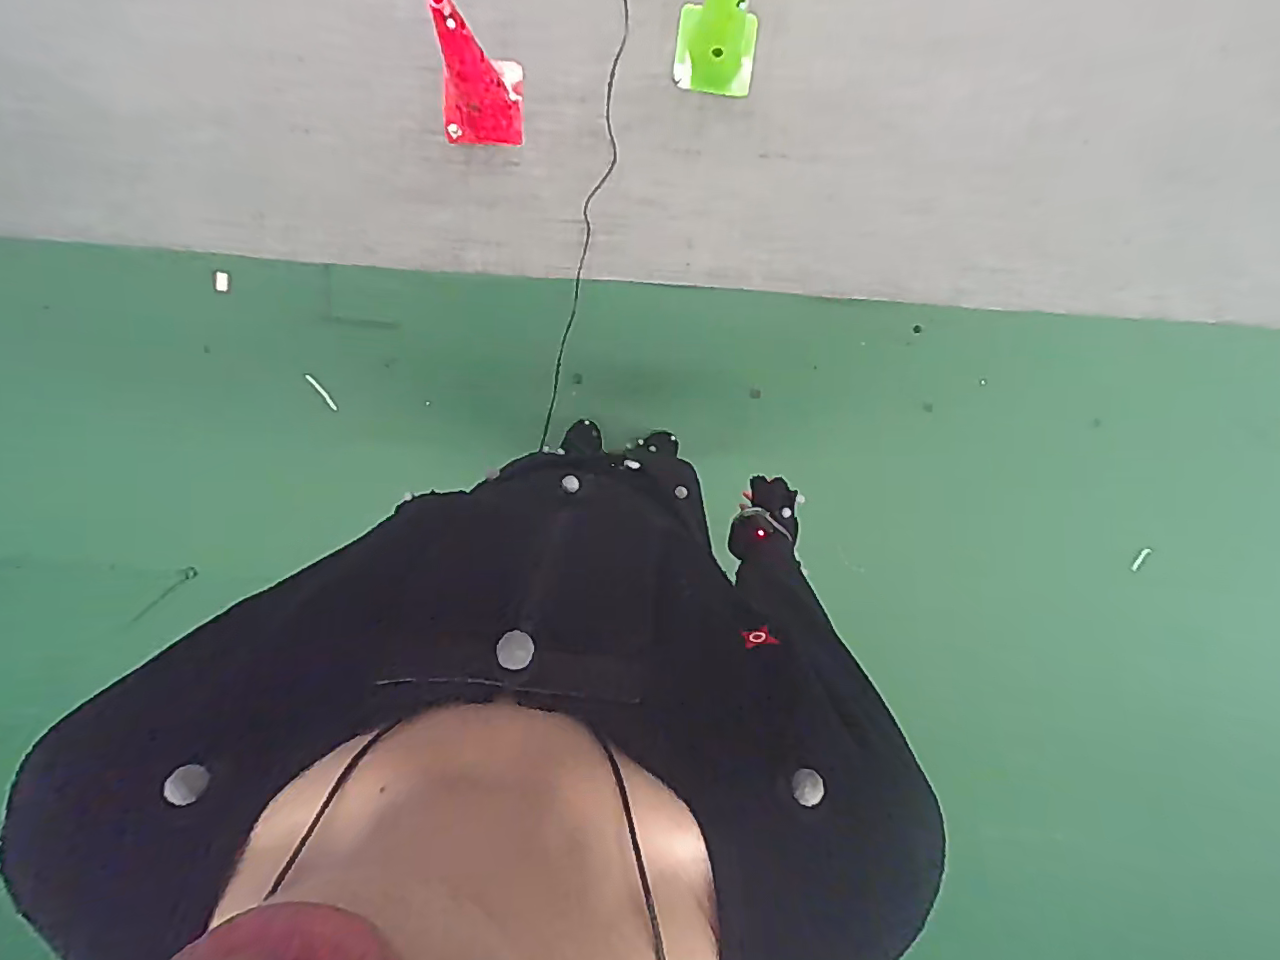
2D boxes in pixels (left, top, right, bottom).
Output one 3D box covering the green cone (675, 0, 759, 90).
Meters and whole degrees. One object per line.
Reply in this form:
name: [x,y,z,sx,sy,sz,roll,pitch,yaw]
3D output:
green cone: [0.203,-1.093,1.213,0.200,0.368,0.202,6,96,-3]
